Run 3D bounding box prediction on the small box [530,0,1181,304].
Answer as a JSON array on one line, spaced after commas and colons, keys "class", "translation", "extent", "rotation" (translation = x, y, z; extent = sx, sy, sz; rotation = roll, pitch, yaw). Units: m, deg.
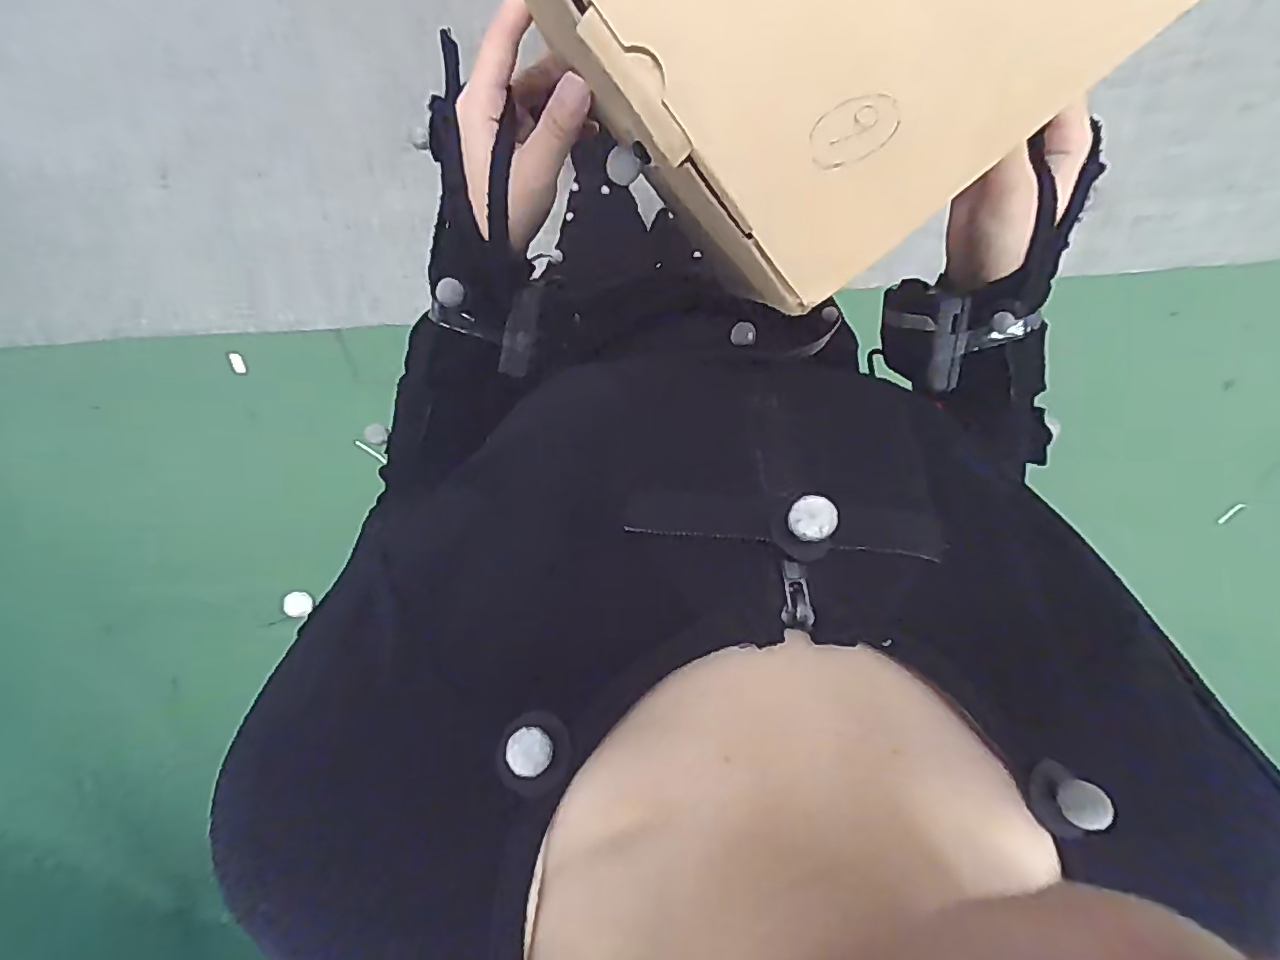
[{"class": "small box", "translation": [0.064, -0.191, 0.207], "extent": [0.179, 0.176, 0.168], "rotation": [-37, 105, 15]}]
